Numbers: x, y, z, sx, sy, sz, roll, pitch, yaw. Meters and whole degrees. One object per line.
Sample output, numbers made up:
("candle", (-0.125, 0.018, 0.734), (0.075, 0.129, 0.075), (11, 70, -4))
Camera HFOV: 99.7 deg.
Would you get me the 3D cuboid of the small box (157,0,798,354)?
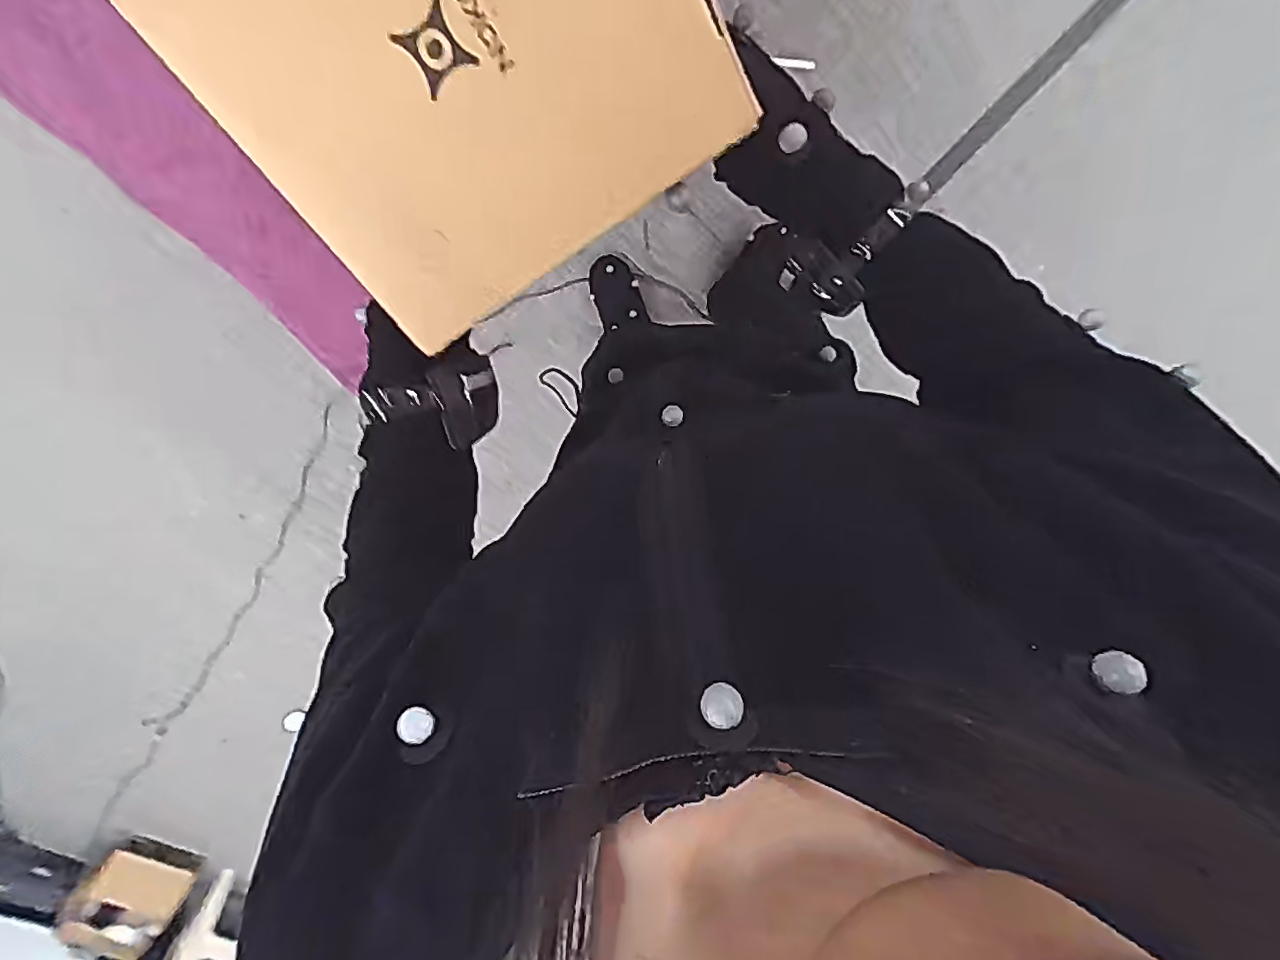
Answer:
("small box", (-0.057, -0.194, 0.258), (0.179, 0.176, 0.168), (-30, 119, 13))
